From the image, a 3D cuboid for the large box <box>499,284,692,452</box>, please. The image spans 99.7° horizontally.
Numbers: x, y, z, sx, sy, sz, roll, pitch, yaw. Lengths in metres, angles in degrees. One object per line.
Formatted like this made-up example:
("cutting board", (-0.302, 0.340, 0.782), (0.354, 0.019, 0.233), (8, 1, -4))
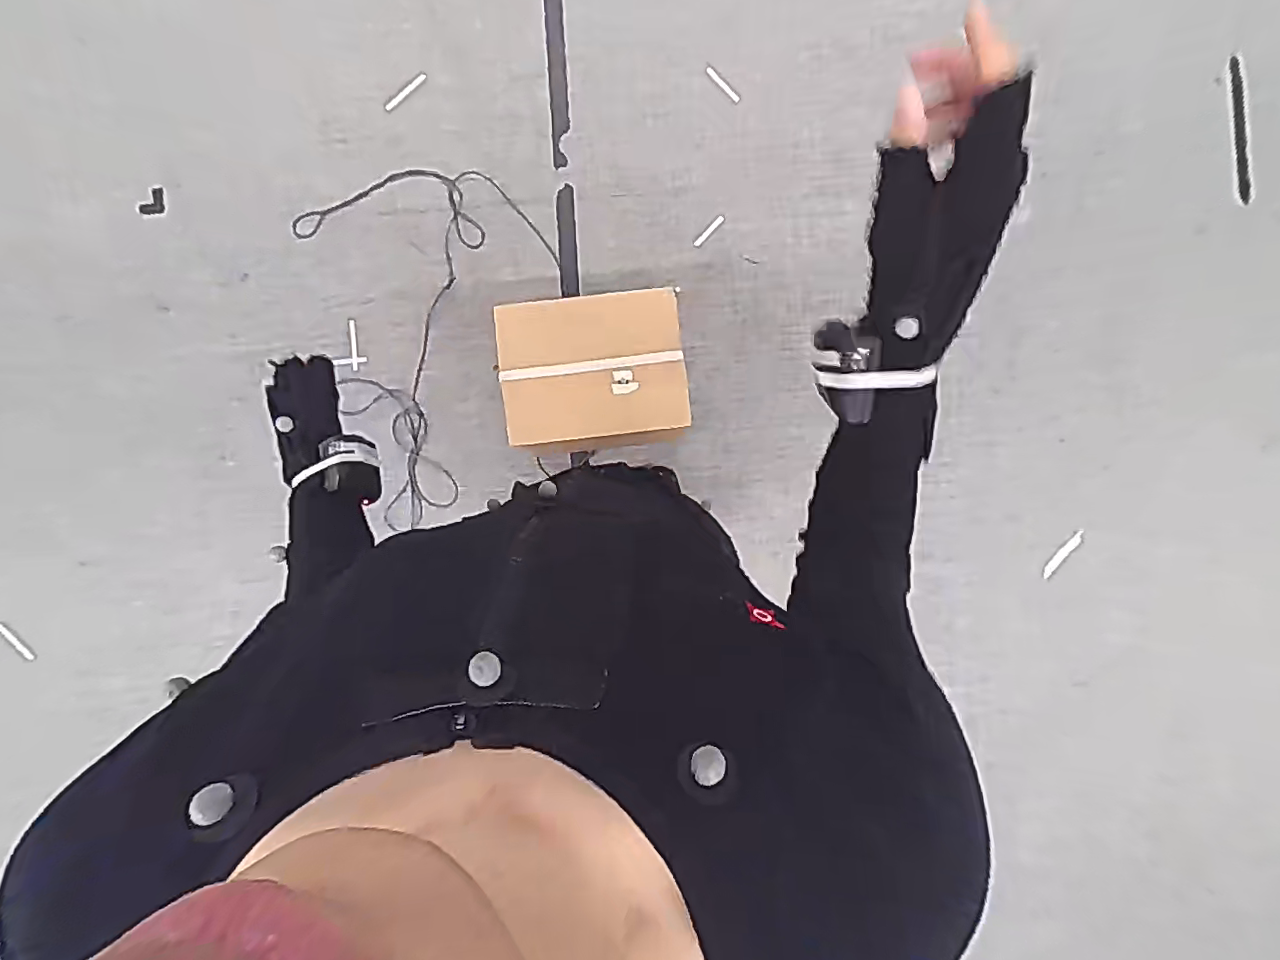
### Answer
("large box", (-0.101, -0.256, 1.344), (0.408, 0.320, 0.320), (-7, 89, -1))
